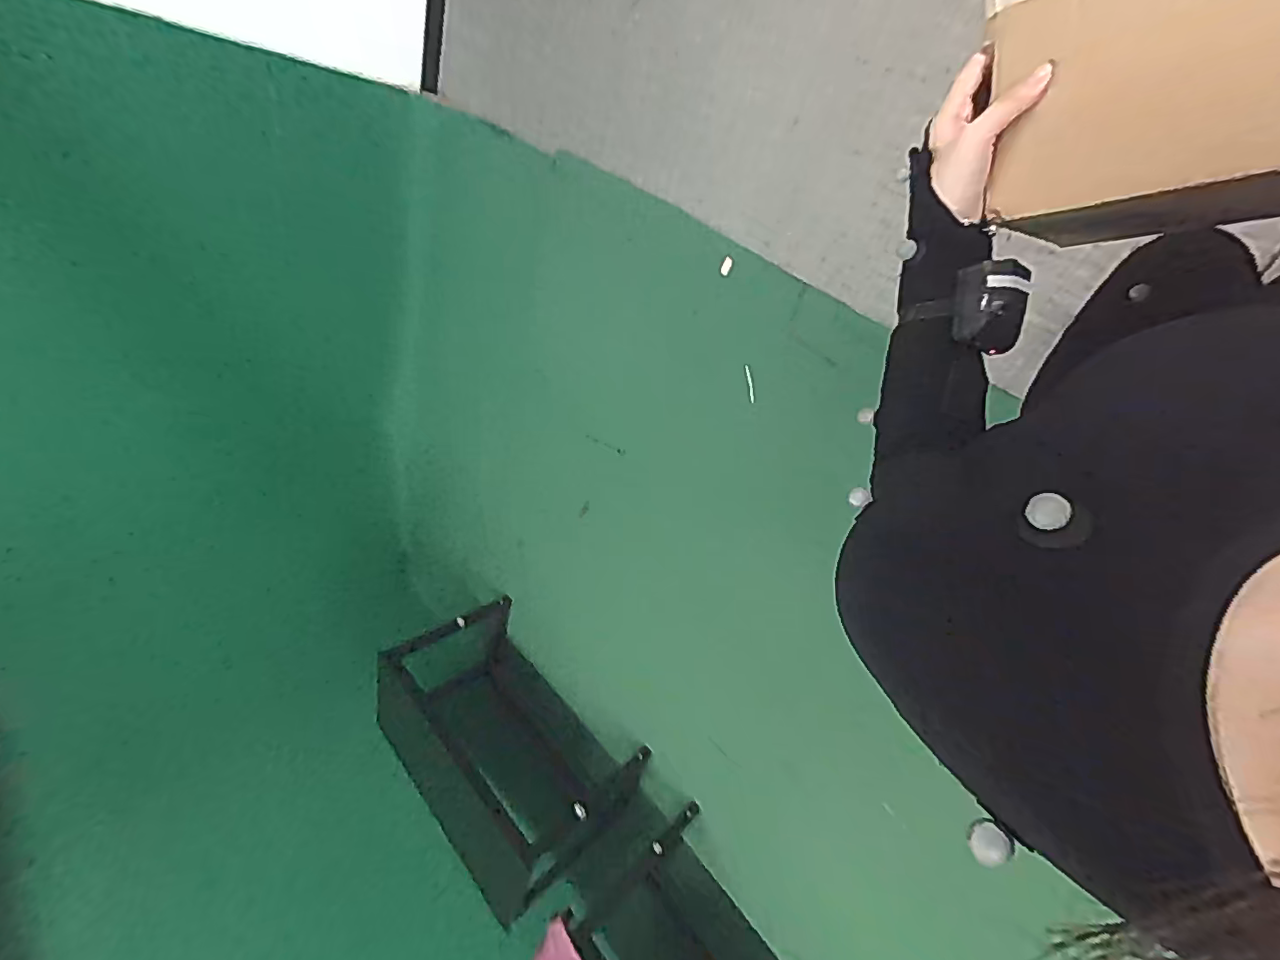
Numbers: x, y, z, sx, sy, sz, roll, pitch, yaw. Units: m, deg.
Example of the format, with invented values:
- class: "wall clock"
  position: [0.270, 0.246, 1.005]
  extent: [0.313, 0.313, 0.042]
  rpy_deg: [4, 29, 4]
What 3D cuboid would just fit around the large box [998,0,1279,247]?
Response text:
- class: "large box"
  position: [0.513, -0.374, 0.367]
  extent: [0.408, 0.320, 0.320]
  rpy_deg: [7, 108, 44]
